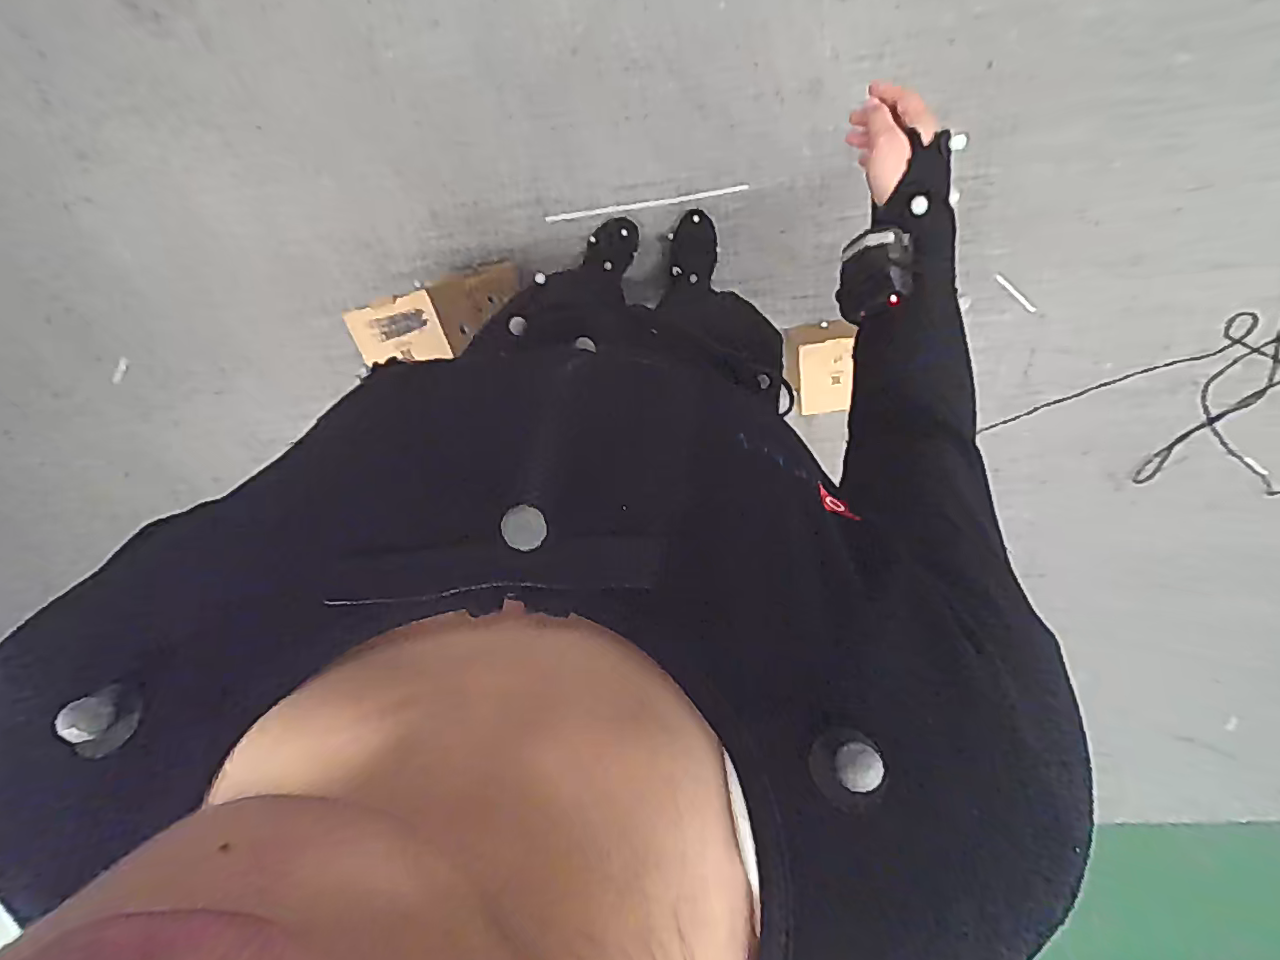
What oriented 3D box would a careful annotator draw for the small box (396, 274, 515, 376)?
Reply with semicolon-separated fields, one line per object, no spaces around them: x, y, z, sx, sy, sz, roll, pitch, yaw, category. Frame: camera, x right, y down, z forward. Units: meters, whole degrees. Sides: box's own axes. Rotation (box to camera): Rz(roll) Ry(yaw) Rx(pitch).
-0.390;-0.345;1.186;0.179;0.176;0.168;-9;116;11;small box

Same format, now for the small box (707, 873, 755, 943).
0.362;1.710;2.164;0.179;0.176;0.168;-3;117;7;small box

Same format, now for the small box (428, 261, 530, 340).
-0.381;-0.431;1.325;0.179;0.176;0.168;-7;117;8;small box

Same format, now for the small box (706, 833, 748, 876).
0.370;1.643;2.314;0.168;0.176;0.179;-4;117;7;small box

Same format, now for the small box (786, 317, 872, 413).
0.459;-0.285;1.328;0.168;0.176;0.179;-8;118;8;small box
